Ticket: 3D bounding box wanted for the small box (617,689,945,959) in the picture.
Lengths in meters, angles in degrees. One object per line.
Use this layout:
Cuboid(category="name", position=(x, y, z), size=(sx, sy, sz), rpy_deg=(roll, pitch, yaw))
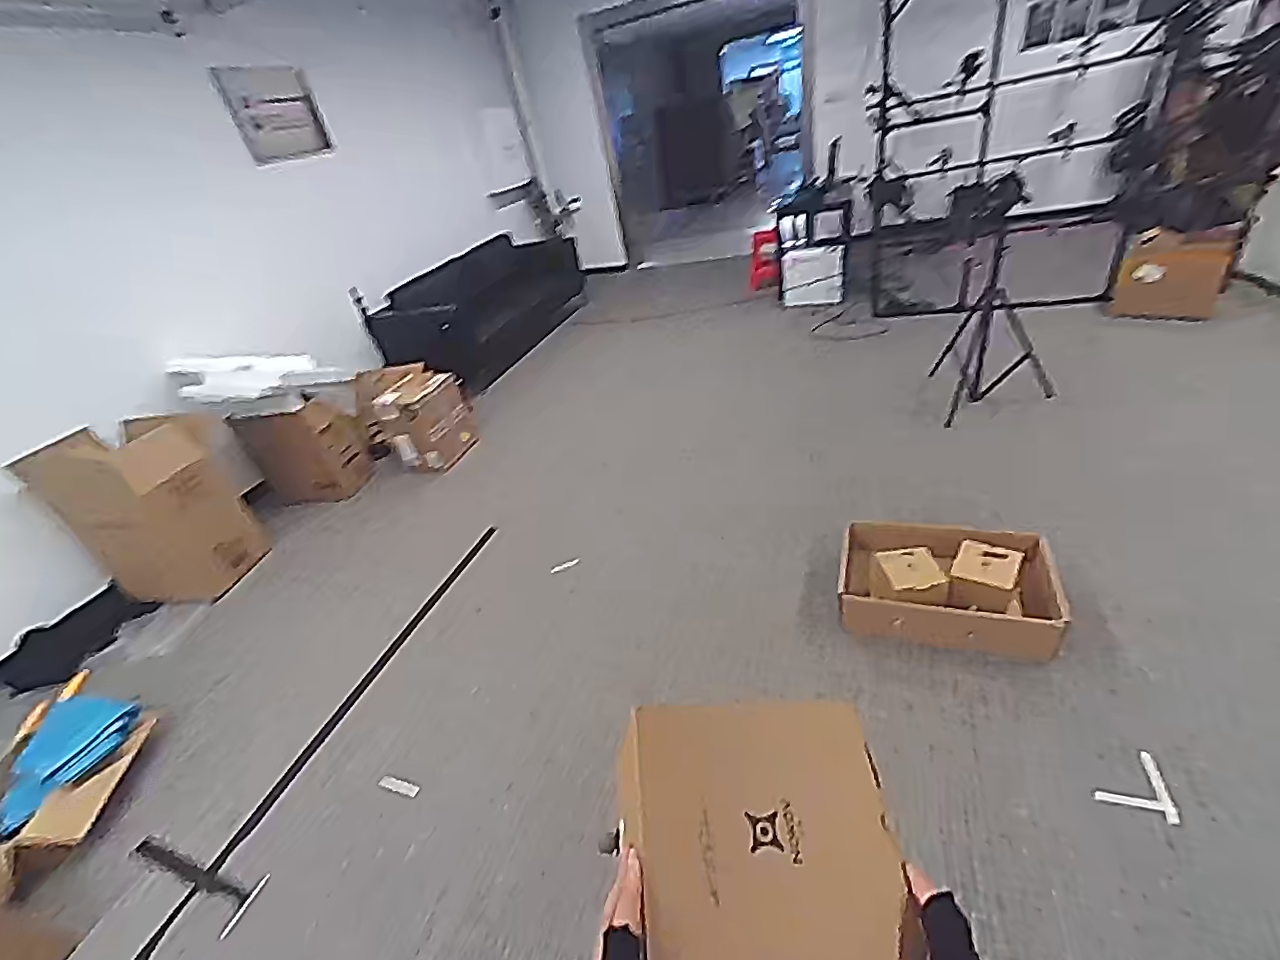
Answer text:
Cuboid(category="small box", position=(0.079, 0.271, 0.412), size=(0.179, 0.176, 0.168), rpy_deg=(1, 49, -7))
